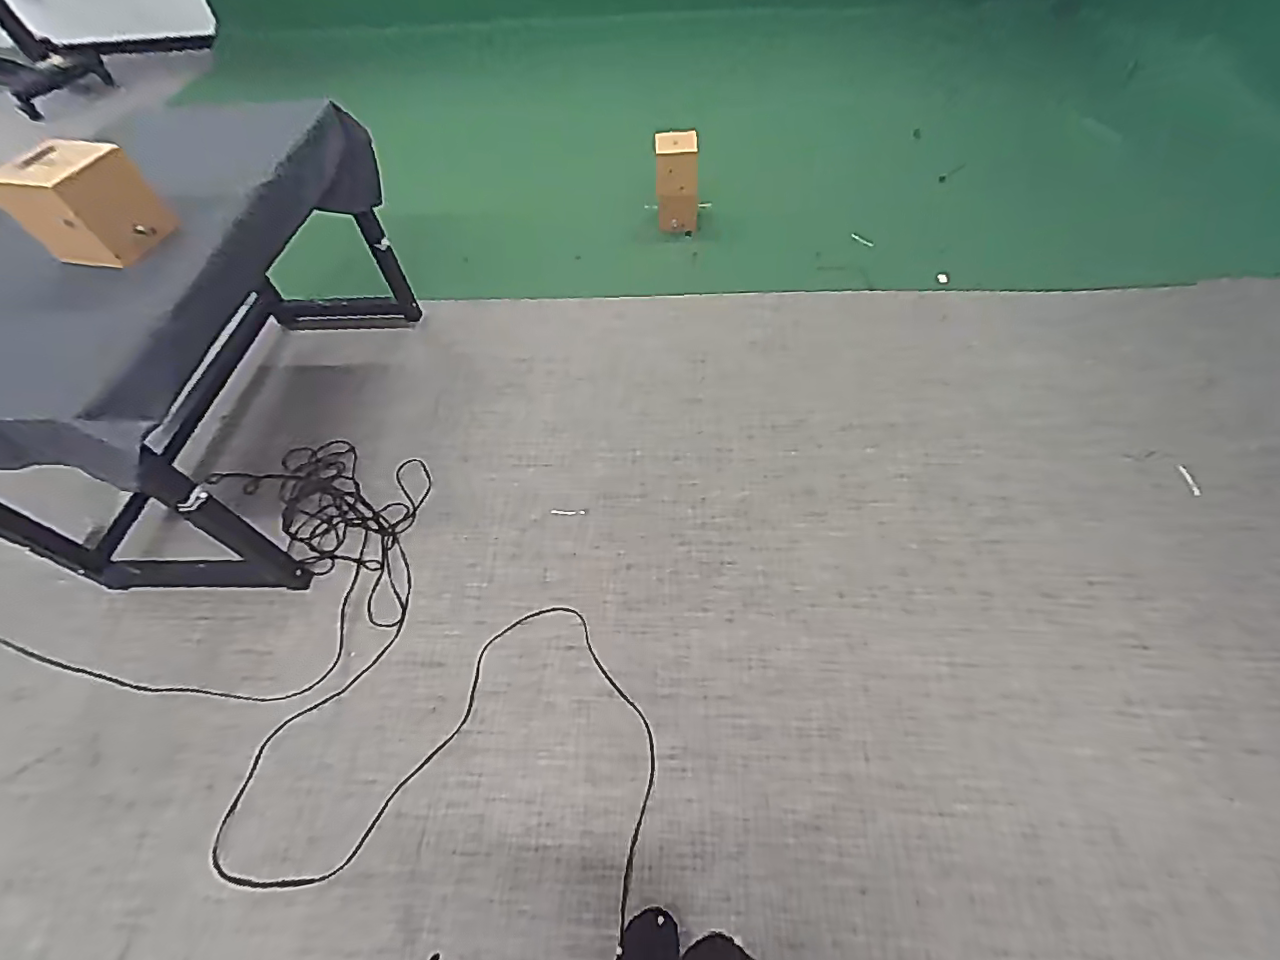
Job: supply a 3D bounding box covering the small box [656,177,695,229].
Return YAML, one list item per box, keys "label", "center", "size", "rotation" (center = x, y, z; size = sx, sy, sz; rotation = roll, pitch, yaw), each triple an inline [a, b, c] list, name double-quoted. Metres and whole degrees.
- label: "small box"
  center: [0.153, -1.215, 2.345]
  size: [0.168, 0.176, 0.179]
  rotation: [-1, 56, 4]

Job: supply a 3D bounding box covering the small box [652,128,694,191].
- label: "small box"
  center: [0.135, -1.303, 2.209]
  size: [0.168, 0.176, 0.179]
  rotation: [-2, 55, 3]
